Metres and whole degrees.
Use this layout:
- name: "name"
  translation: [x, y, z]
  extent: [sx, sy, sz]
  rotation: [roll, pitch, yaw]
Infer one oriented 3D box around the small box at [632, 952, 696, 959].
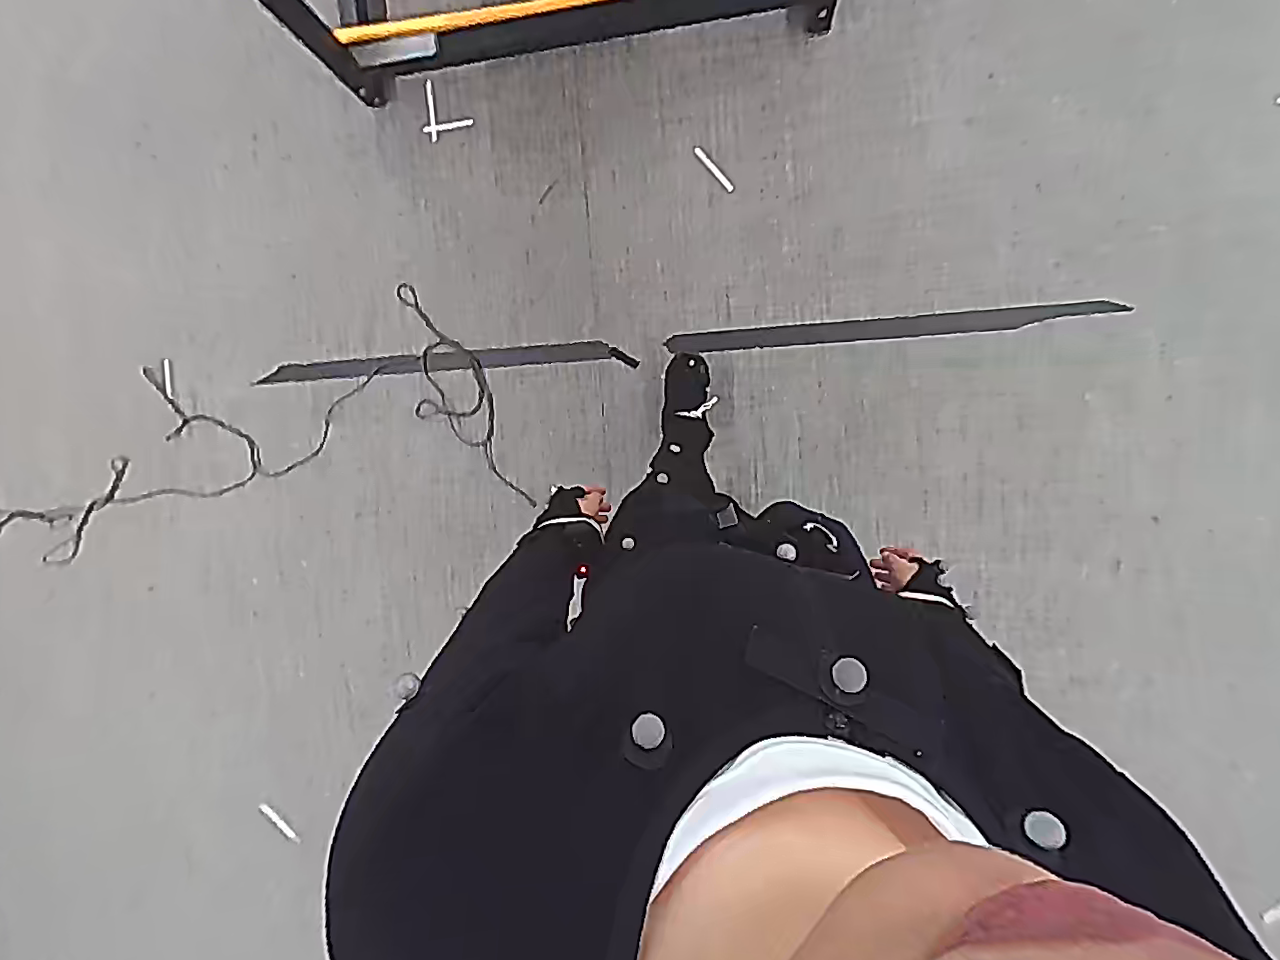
- name: "small box"
  translation: [0.056, 1.202, 1.192]
  extent: [0.168, 0.176, 0.179]
  rotation: [-2, 93, 7]
